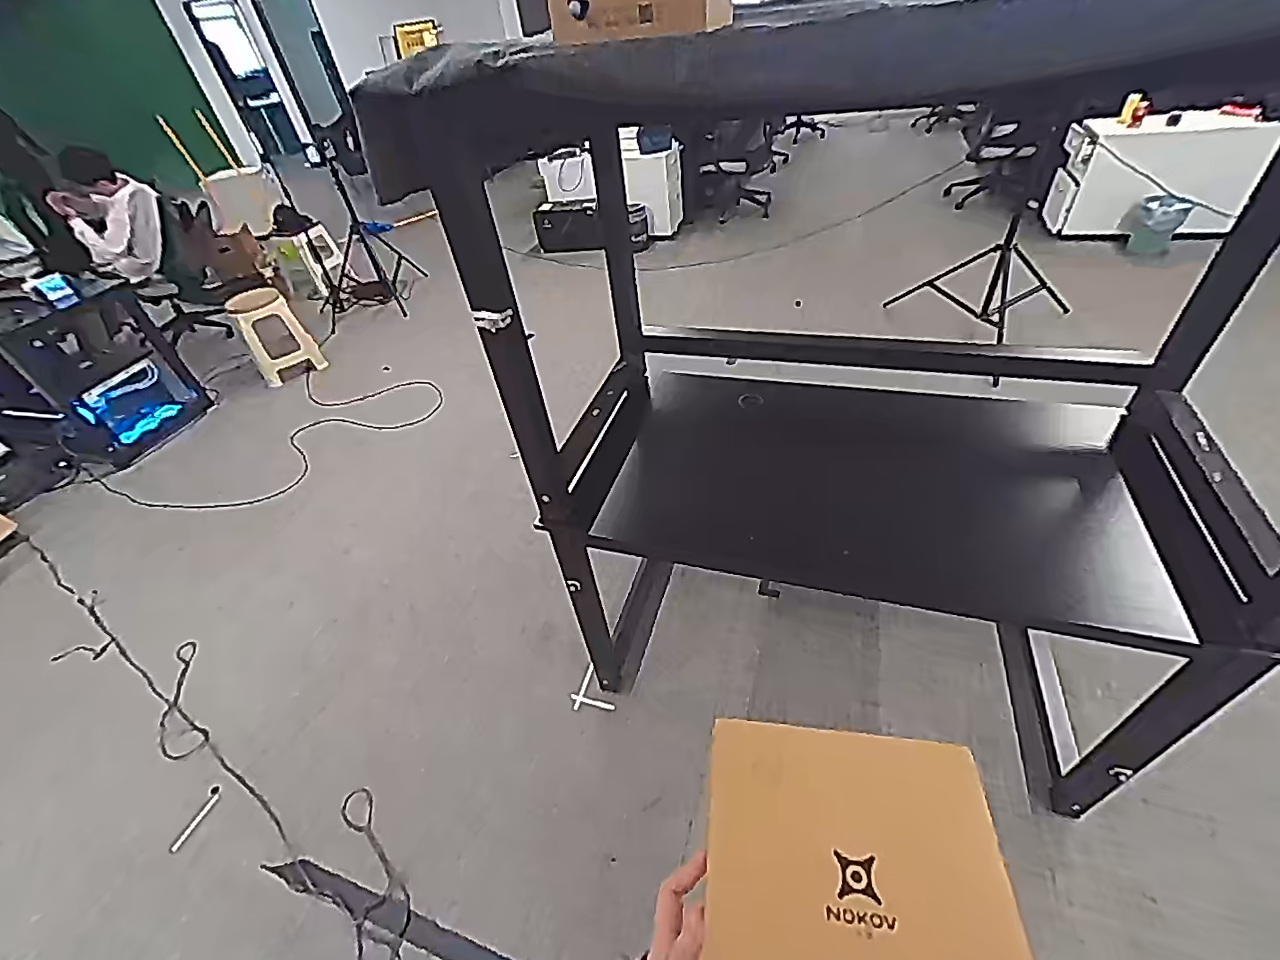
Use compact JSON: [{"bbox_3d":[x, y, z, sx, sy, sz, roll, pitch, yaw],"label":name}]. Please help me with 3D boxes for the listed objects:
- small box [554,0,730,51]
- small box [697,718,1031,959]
[{"bbox_3d":[0.005,-0.561,0.563,0.168,0.176,0.179,7,42,15],"label":"small box"},{"bbox_3d":[0.123,0.286,0.349,0.168,0.176,0.179,3,41,9],"label":"small box"}]
